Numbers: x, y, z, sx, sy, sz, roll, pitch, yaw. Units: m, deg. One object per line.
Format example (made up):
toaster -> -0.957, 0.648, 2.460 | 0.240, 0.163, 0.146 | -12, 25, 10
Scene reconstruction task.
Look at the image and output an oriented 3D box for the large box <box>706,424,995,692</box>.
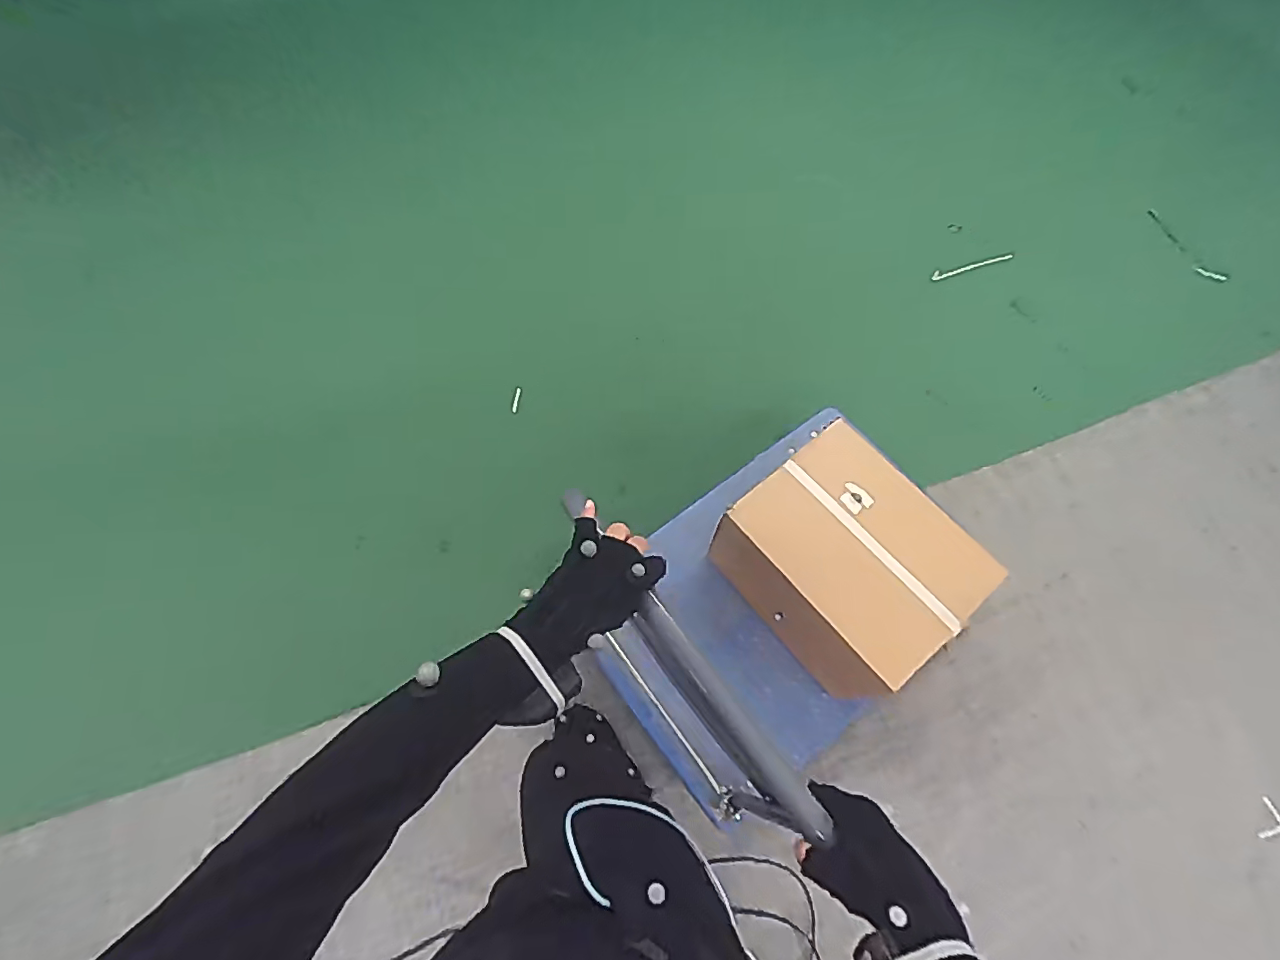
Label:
large box -> 0.393, 0.172, 1.117 | 0.320, 0.320, 0.408 | -37, 71, -16
